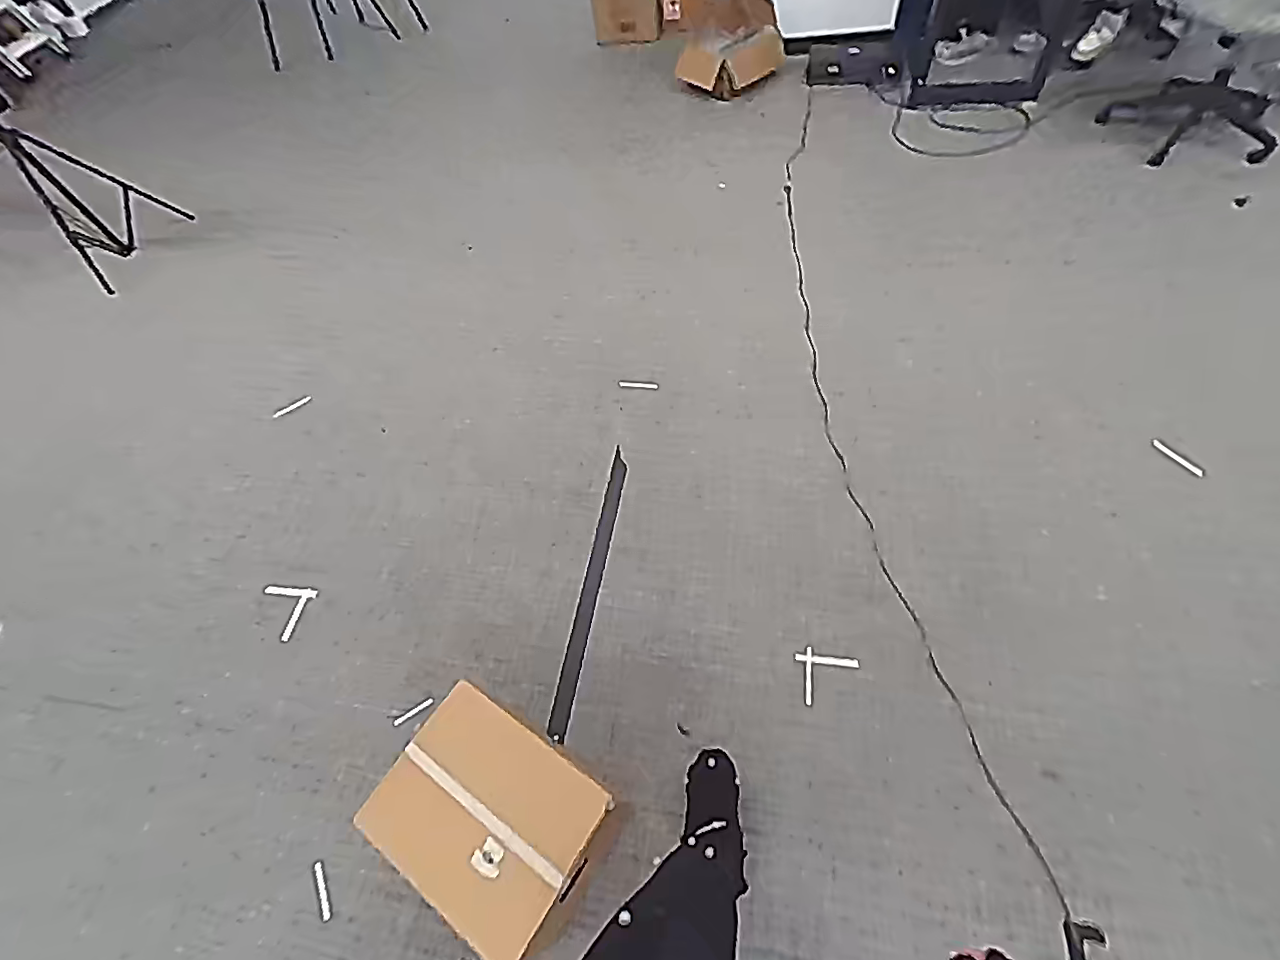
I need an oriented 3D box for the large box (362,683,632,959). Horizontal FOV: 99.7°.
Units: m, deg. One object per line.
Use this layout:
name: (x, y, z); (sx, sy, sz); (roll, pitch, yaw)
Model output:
large box: (-0.275, 0.702, 1.148); (0.408, 0.320, 0.320); (27, 65, 21)
